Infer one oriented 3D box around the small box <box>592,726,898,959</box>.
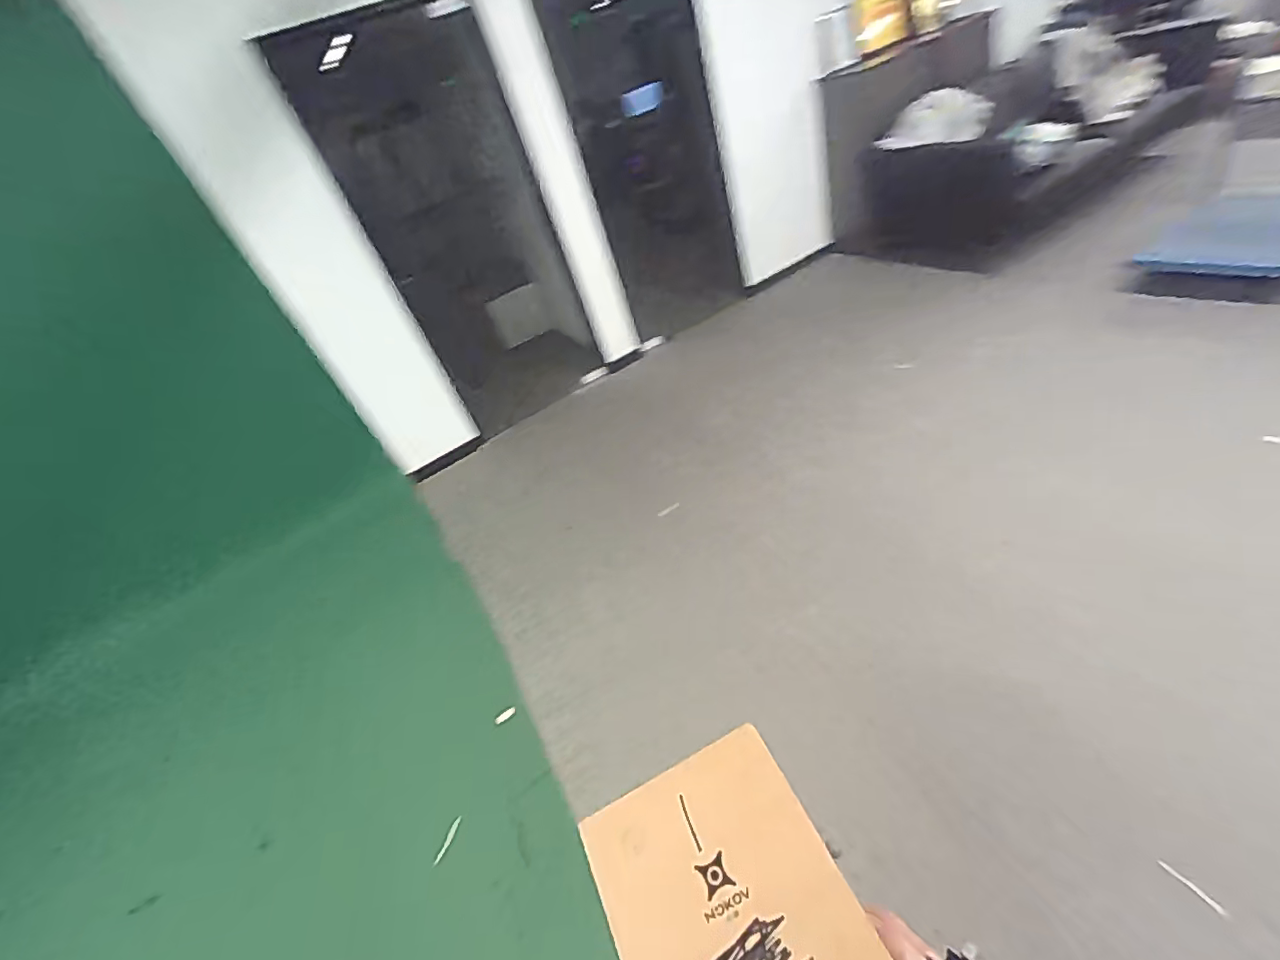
[{"bbox_3d":[0.084,0.341,0.442,0.168,0.176,0.179,-26,48,-5],"label":"small box"}]
